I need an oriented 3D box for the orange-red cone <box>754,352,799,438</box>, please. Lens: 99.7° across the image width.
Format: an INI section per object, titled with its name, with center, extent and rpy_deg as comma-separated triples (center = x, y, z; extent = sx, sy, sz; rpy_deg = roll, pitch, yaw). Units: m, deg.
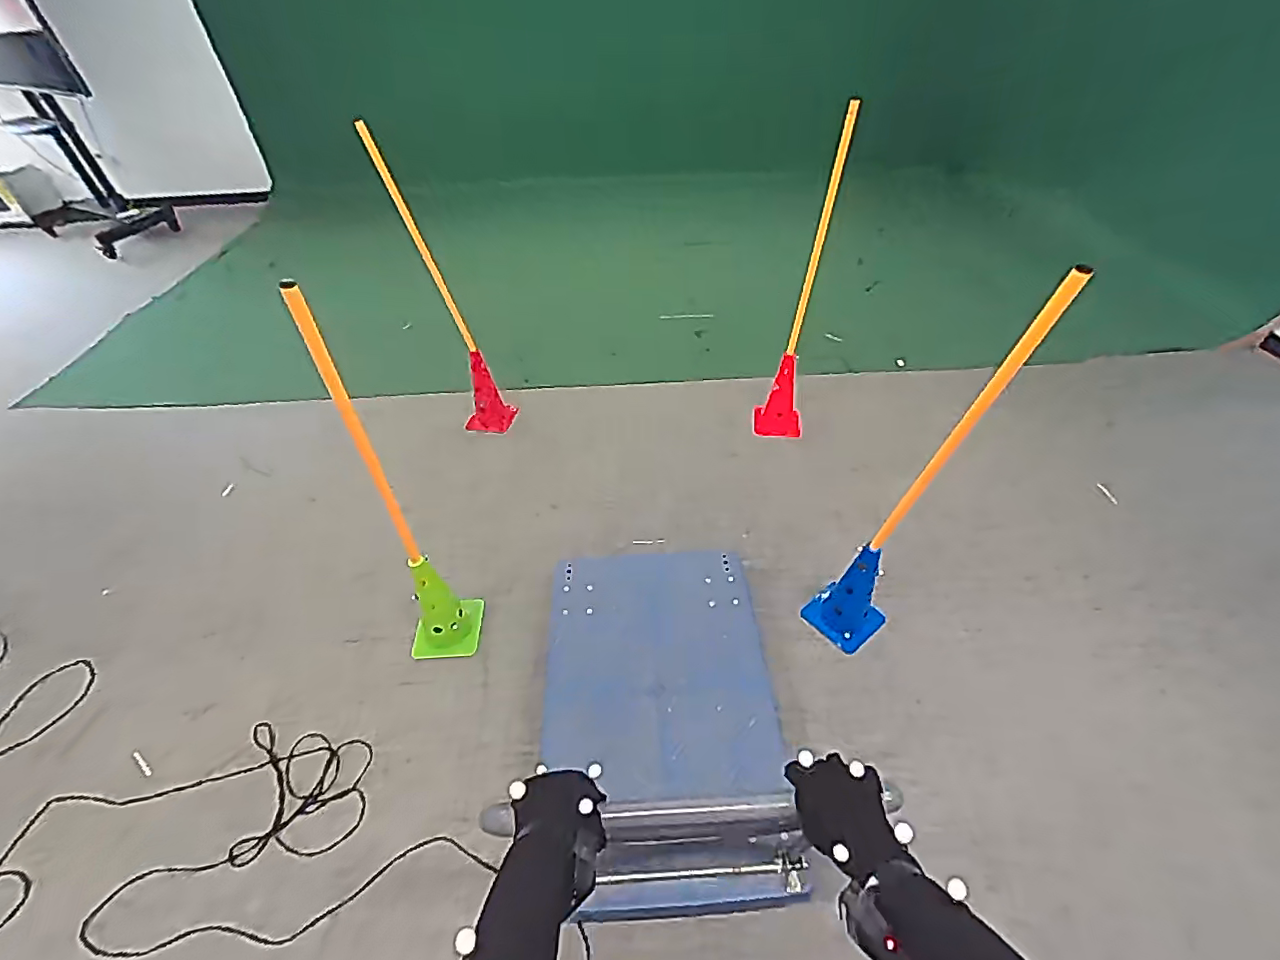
[orange-red cone]
center = 0.603, -0.377, 2.296
extent = 0.198, 0.360, 0.199
rpy_deg = 5, 45, 8
